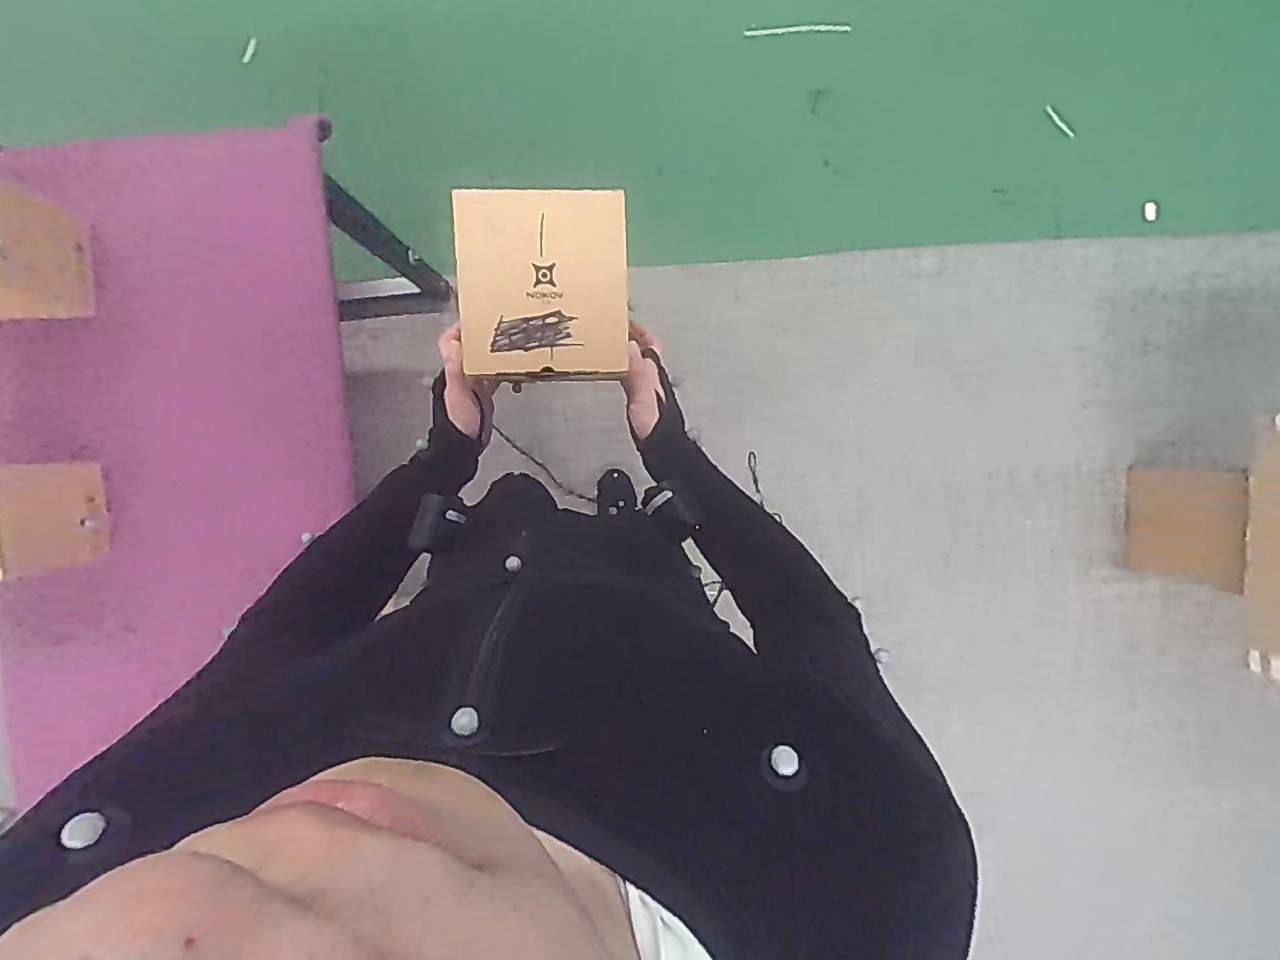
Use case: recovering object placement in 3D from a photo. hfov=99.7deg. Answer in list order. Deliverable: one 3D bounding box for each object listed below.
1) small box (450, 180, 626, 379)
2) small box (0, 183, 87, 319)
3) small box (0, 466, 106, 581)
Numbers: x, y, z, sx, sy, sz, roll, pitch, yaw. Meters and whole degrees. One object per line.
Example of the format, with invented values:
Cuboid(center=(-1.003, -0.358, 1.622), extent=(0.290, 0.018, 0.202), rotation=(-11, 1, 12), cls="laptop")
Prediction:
Cuboid(center=(-0.100, -0.202, 0.593), extent=(0.168, 0.176, 0.179), rotation=(-1, 98, -4), cls="small box")
Cuboid(center=(-0.998, -0.343, 0.806), extent=(0.179, 0.176, 0.168), rotation=(-2, 93, 1), cls="small box")
Cuboid(center=(-0.986, 0.068, 0.823), extent=(0.179, 0.176, 0.168), rotation=(-5, 93, 0), cls="small box")
